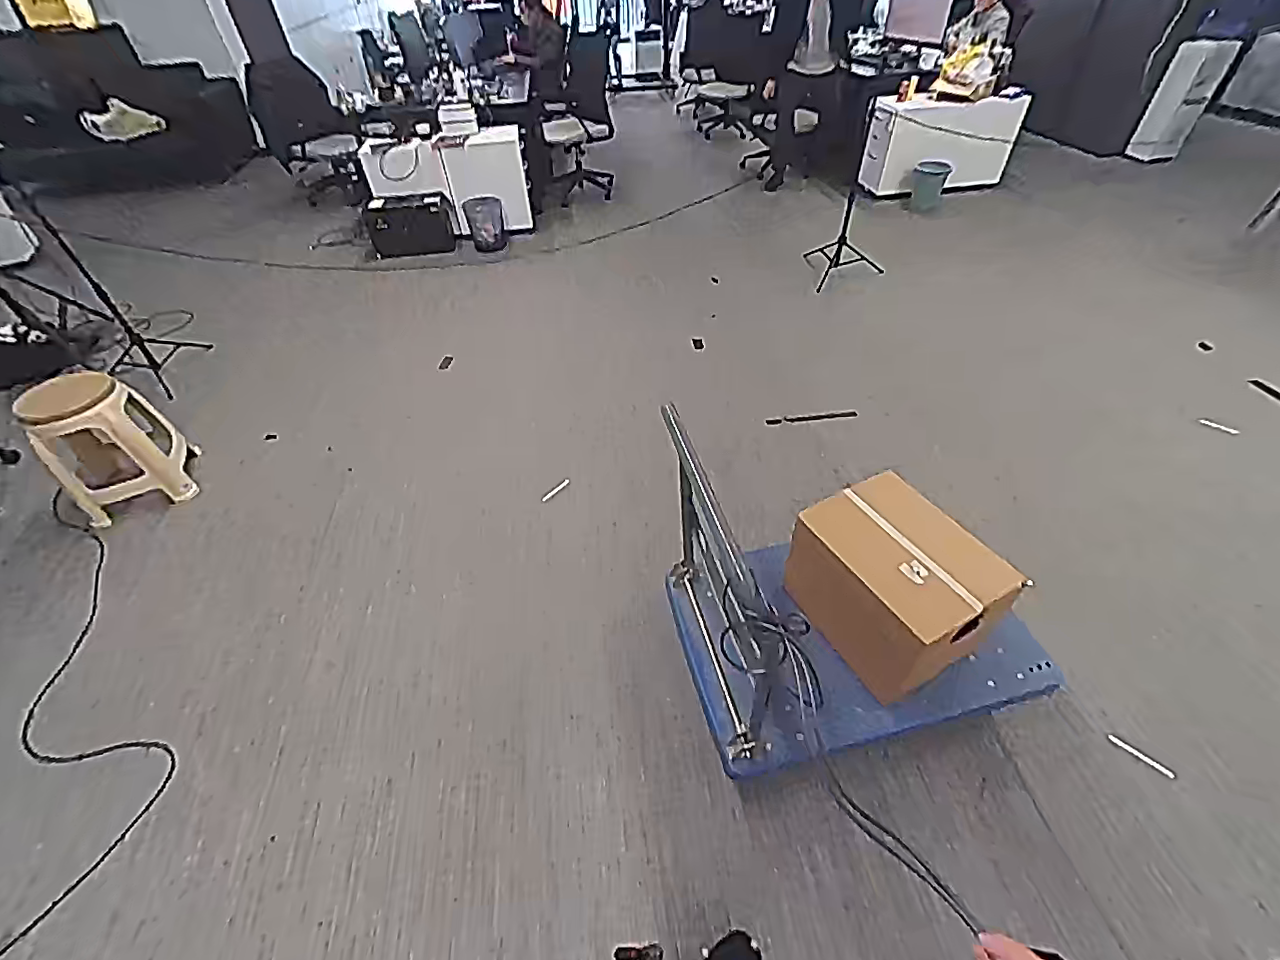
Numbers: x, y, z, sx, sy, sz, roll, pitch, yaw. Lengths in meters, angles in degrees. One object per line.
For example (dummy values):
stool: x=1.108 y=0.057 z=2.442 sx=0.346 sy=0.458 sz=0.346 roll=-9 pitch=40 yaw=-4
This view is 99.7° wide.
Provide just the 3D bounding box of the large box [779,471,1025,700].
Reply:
large box: x=0.612 y=0.252 z=1.351 sx=0.320 sy=0.320 sz=0.408 roll=-23 pitch=50 yaw=-17
